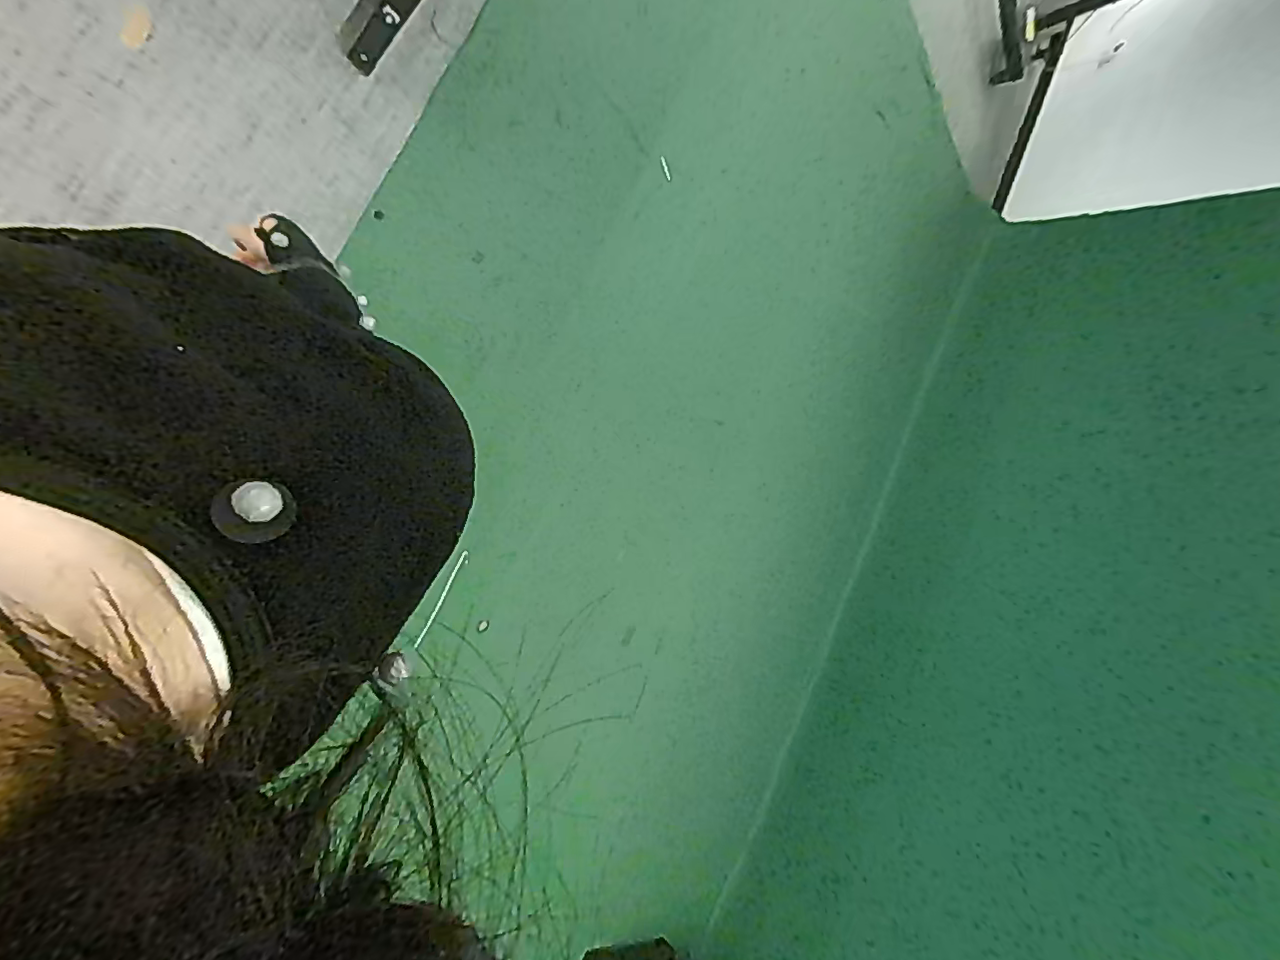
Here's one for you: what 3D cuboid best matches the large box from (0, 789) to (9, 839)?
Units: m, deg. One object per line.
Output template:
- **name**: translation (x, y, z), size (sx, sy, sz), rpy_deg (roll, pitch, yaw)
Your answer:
- **large box**: translation (-1.352, 0.763, 0.854), size (0.408, 0.320, 0.320), rpy_deg (13, 93, -44)
